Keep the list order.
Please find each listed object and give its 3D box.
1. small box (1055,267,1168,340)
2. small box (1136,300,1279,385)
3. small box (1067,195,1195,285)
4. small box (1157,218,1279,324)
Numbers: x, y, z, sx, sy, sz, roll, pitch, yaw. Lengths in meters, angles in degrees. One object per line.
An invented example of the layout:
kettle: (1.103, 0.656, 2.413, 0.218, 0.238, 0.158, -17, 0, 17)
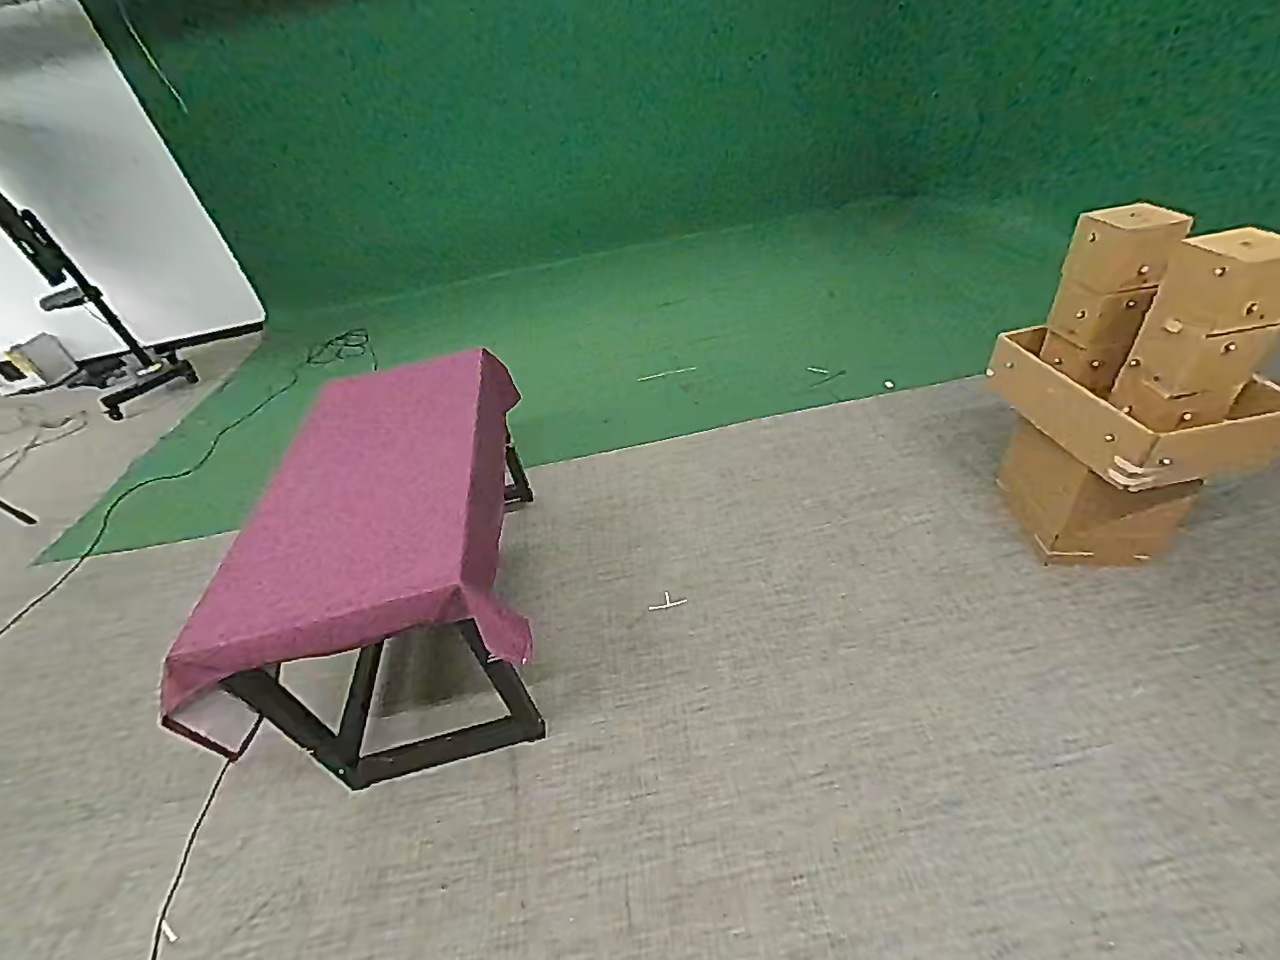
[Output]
small box: (1.347, -0.523, 1.563, 0.179, 0.176, 0.168, -11, 39, 2)
small box: (1.389, -0.351, 1.338, 0.179, 0.176, 0.168, -10, 38, 3)
small box: (1.310, -0.648, 1.461, 0.168, 0.176, 0.179, -10, 39, 5)
small box: (1.362, -0.478, 1.240, 0.168, 0.176, 0.179, -11, 39, 3)
